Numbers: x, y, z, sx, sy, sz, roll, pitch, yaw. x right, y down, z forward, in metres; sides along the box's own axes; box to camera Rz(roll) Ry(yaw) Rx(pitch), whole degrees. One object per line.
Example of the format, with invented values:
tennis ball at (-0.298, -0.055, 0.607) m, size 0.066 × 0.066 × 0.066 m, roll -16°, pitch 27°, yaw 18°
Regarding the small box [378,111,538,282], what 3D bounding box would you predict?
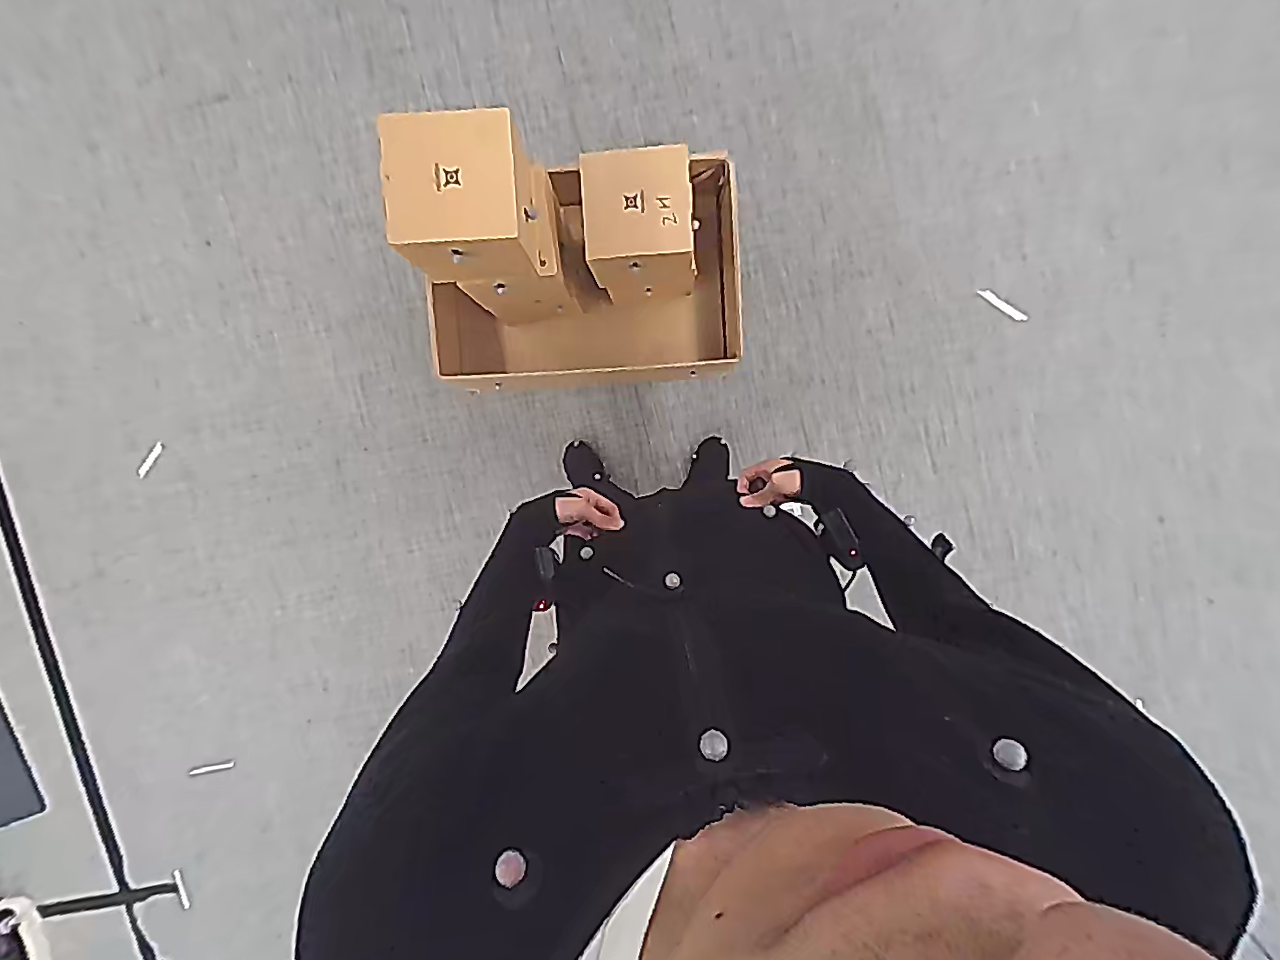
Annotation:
small box at (-0.247, -0.395, 0.780) m, size 0.179 × 0.176 × 0.168 m, roll -3°, pitch 94°, yaw 1°
